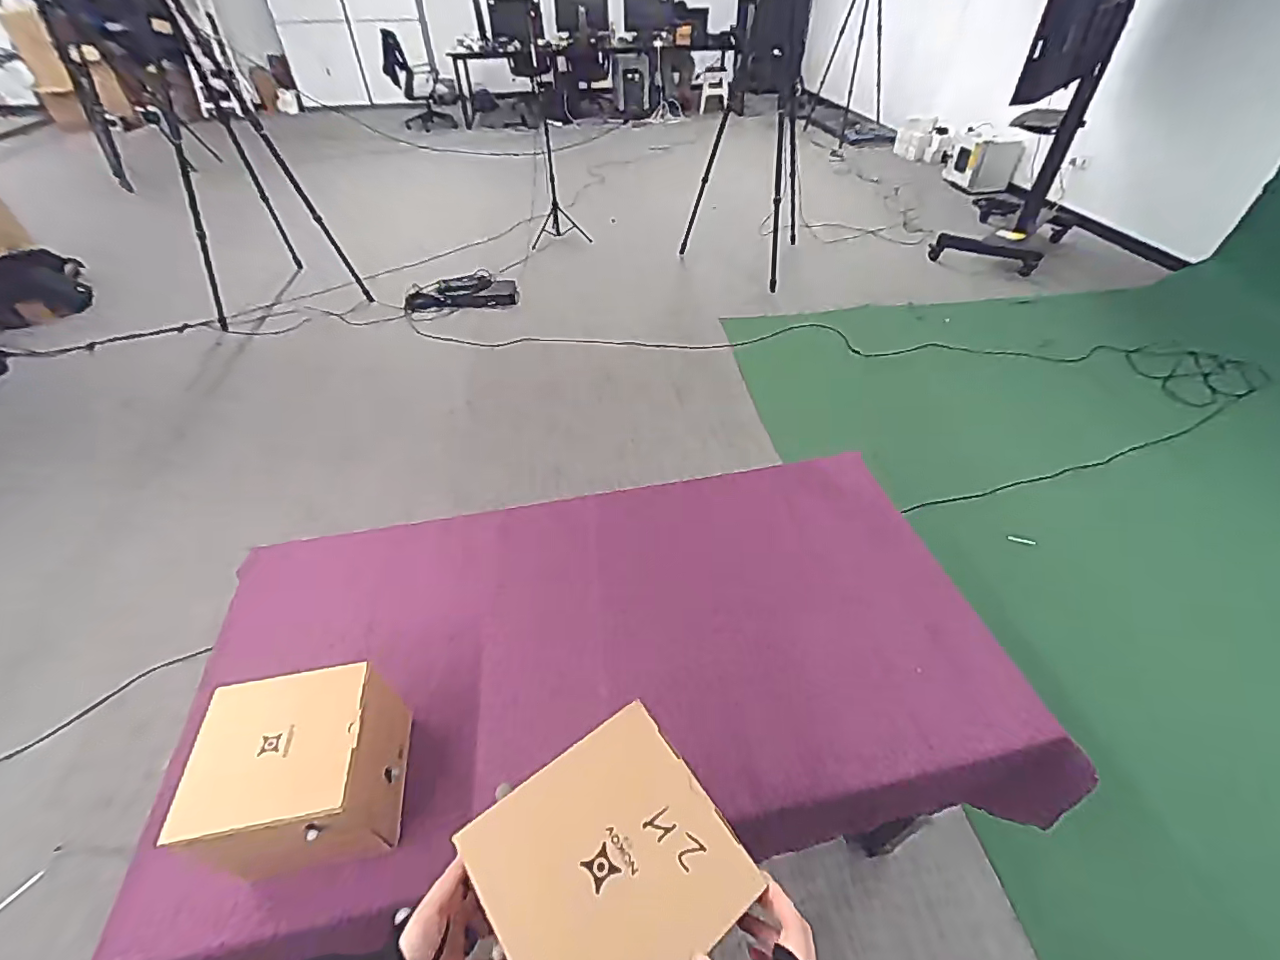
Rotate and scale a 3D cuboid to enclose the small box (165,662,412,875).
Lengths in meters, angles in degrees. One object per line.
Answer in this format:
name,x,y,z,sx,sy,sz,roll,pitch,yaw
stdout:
small box,-0.396,0.348,0.652,0.179,0.176,0.168,-8,44,-8
